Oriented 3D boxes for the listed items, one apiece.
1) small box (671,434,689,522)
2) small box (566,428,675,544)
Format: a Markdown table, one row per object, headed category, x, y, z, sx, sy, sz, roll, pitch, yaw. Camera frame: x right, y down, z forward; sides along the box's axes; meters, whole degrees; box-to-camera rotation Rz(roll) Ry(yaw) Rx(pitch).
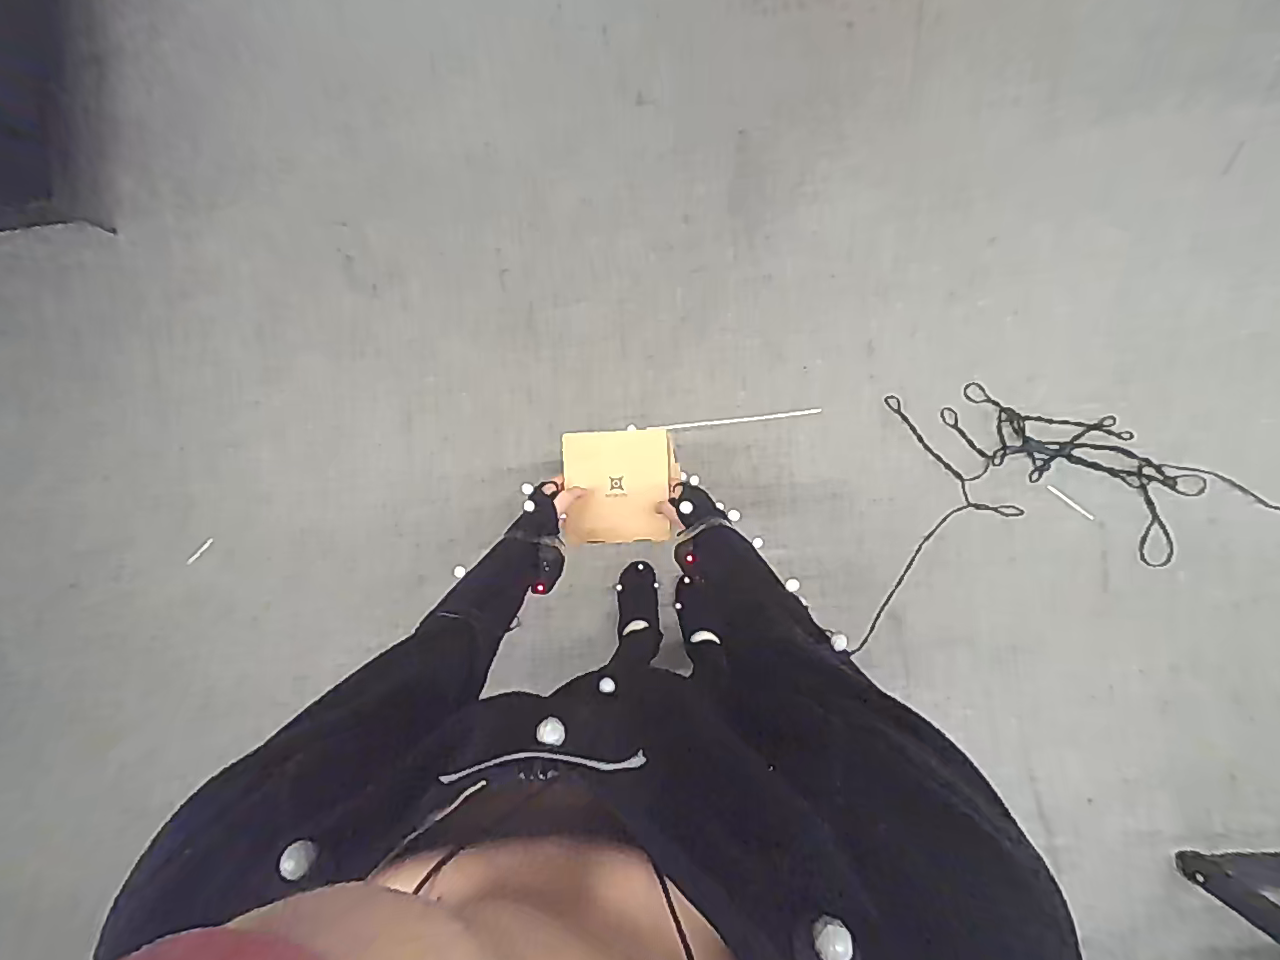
| category | x | y | z | sx | sy | sz | roll | pitch | yaw |
| --- | --- | --- | --- | --- | --- | --- | --- | --- | --- |
| small box | -0.004 | 0.008 | 1.077 | 0.179 | 0.176 | 0.168 | -8 | 86 | 3 |
| small box | -0.027 | 0.010 | 0.910 | 0.168 | 0.176 | 0.179 | -2 | 91 | 4 |
